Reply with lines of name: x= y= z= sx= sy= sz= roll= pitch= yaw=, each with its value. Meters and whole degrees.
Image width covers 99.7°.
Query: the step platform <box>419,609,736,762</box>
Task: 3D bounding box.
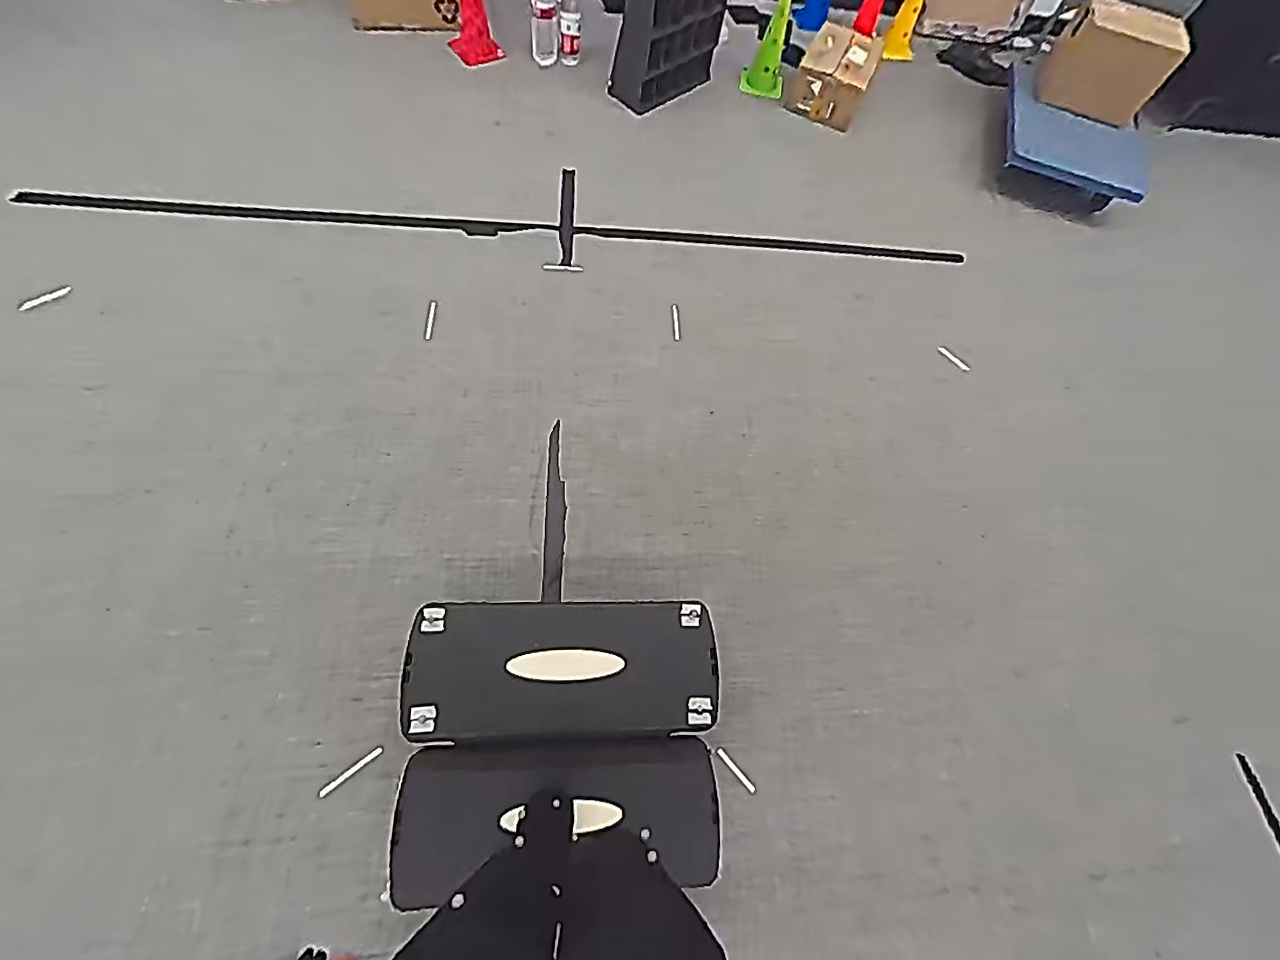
step platform: x=-0.129 y=0.466 z=1.224 sx=0.684 sy=0.204 sz=0.286 roll=6 pitch=62 yaw=-6
